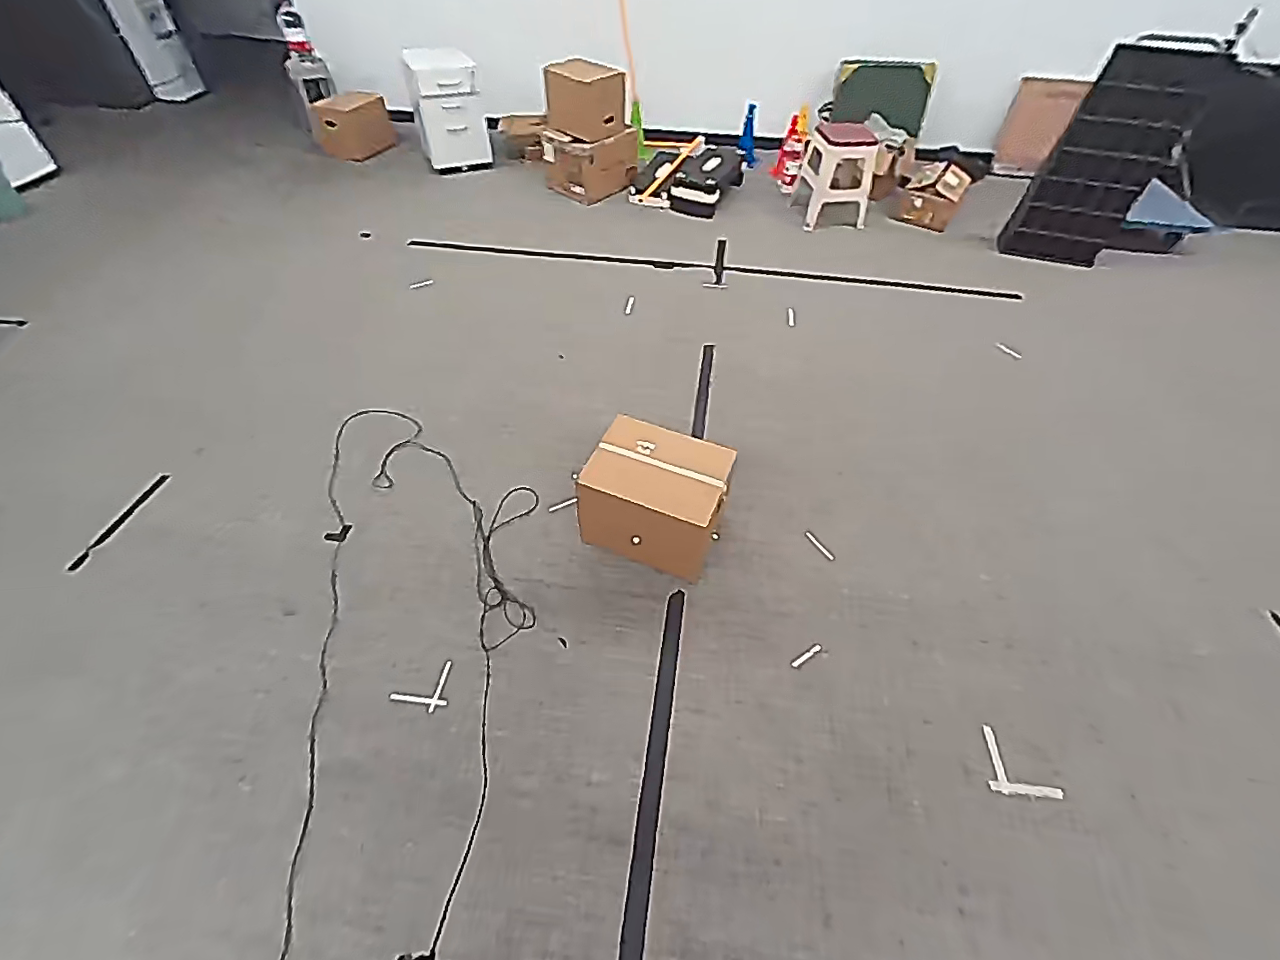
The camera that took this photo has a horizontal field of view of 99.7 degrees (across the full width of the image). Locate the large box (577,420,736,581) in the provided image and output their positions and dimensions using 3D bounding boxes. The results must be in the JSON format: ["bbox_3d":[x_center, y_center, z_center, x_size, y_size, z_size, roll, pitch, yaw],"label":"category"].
[{"bbox_3d":[0.056,0.066,1.725,0.408,0.320,0.320,19,51,14],"label":"large box"}]
